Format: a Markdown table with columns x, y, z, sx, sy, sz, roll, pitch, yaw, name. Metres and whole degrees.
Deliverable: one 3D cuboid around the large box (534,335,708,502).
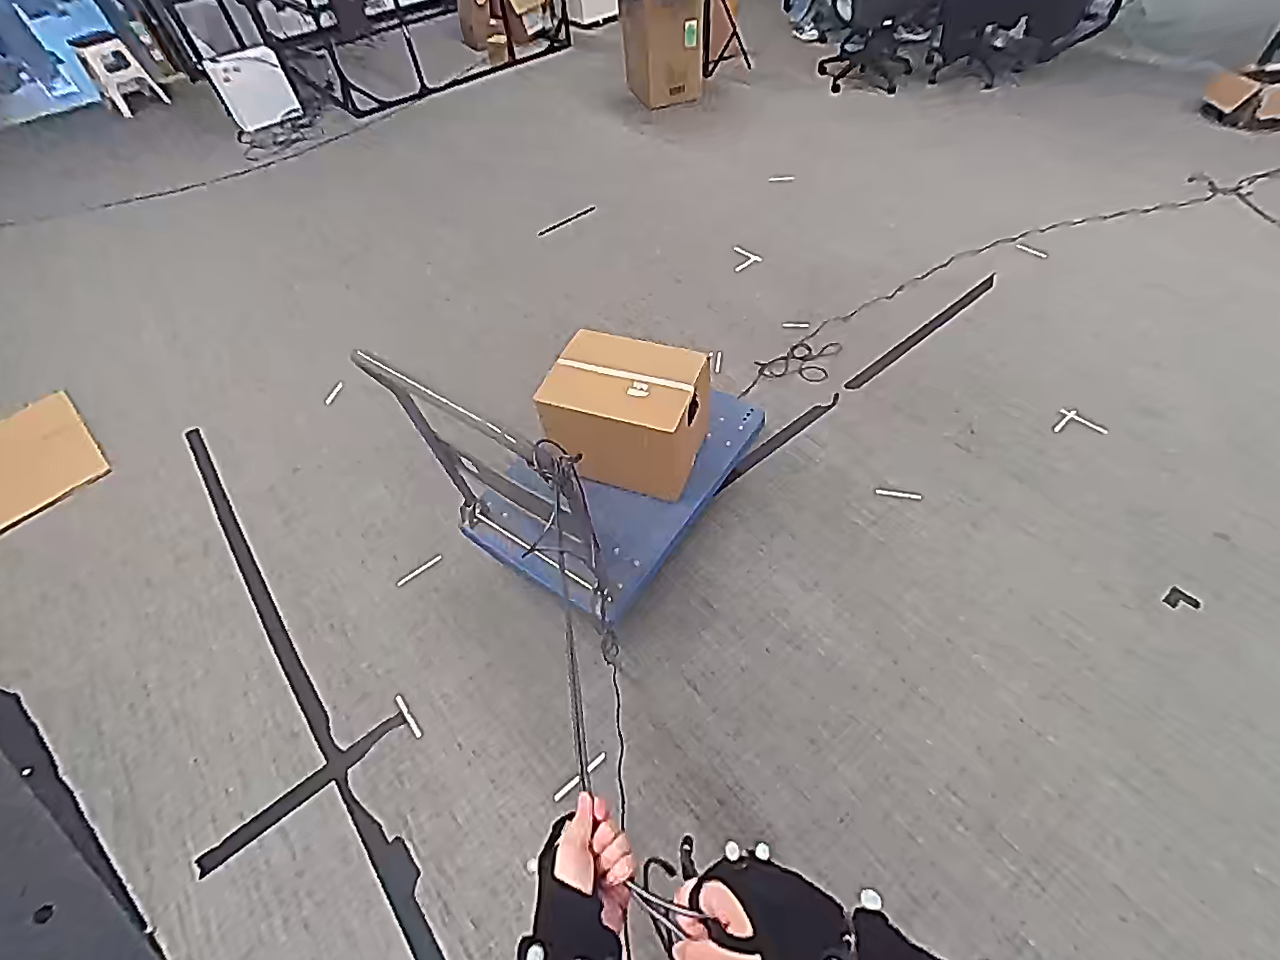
| x | y | z | sx | sy | sz | roll | pitch | yaw | name |
| --- | --- | --- | --- | --- | --- | --- | --- | --- | --- |
| -0.041 | -0.181 | 1.588 | 0.408 | 0.320 | 0.320 | 15 | 56 | 15 | large box |
